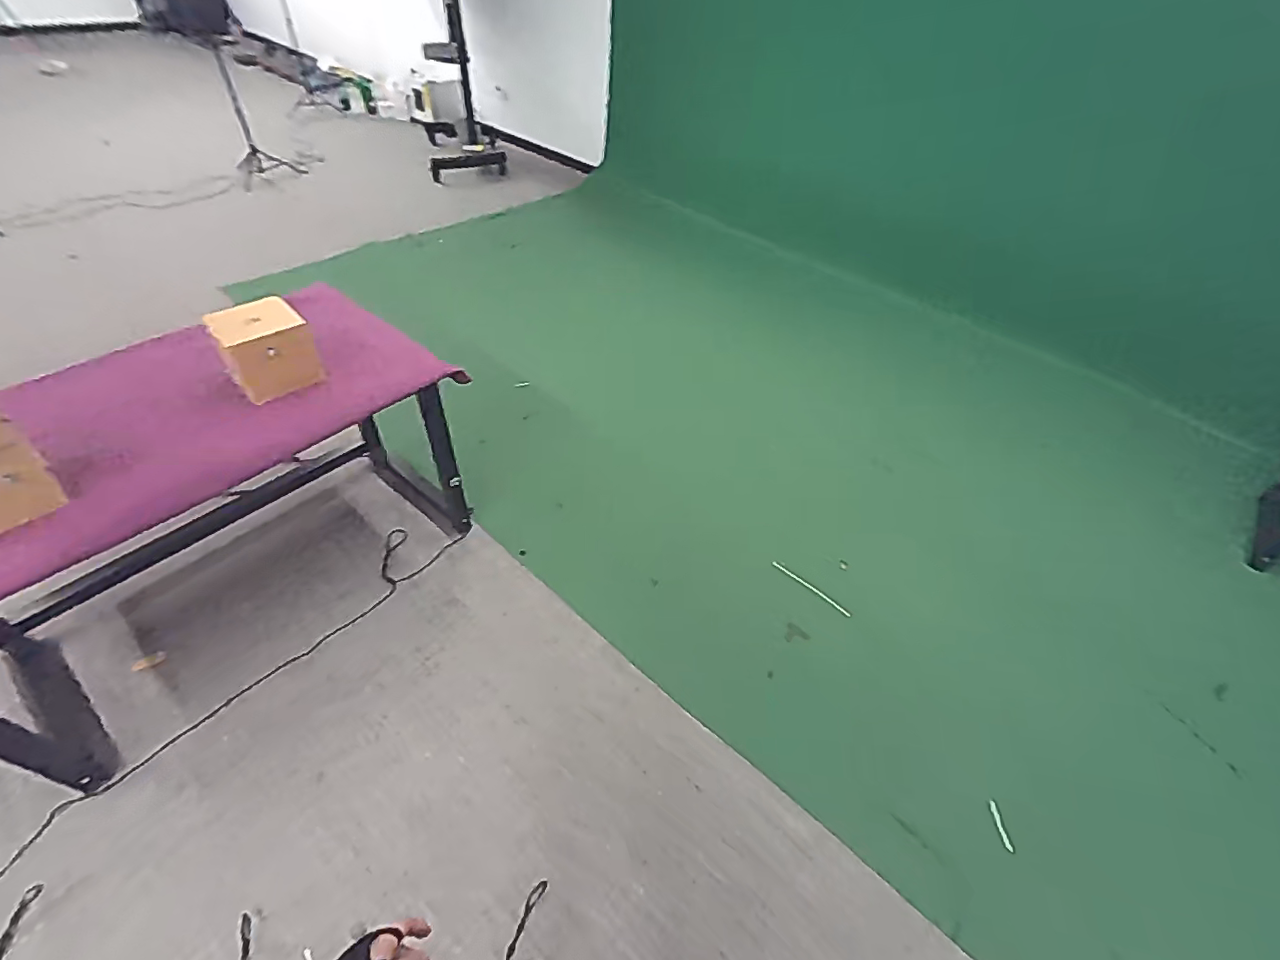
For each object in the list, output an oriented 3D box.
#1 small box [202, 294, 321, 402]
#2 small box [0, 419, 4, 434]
[{"bbox_3d":[-0.916,-0.323,1.329,0.168,0.176,0.179,39,54,25],"label":"small box"},{"bbox_3d":[-1.204,-0.127,0.871,0.168,0.176,0.179,32,51,21],"label":"small box"}]
